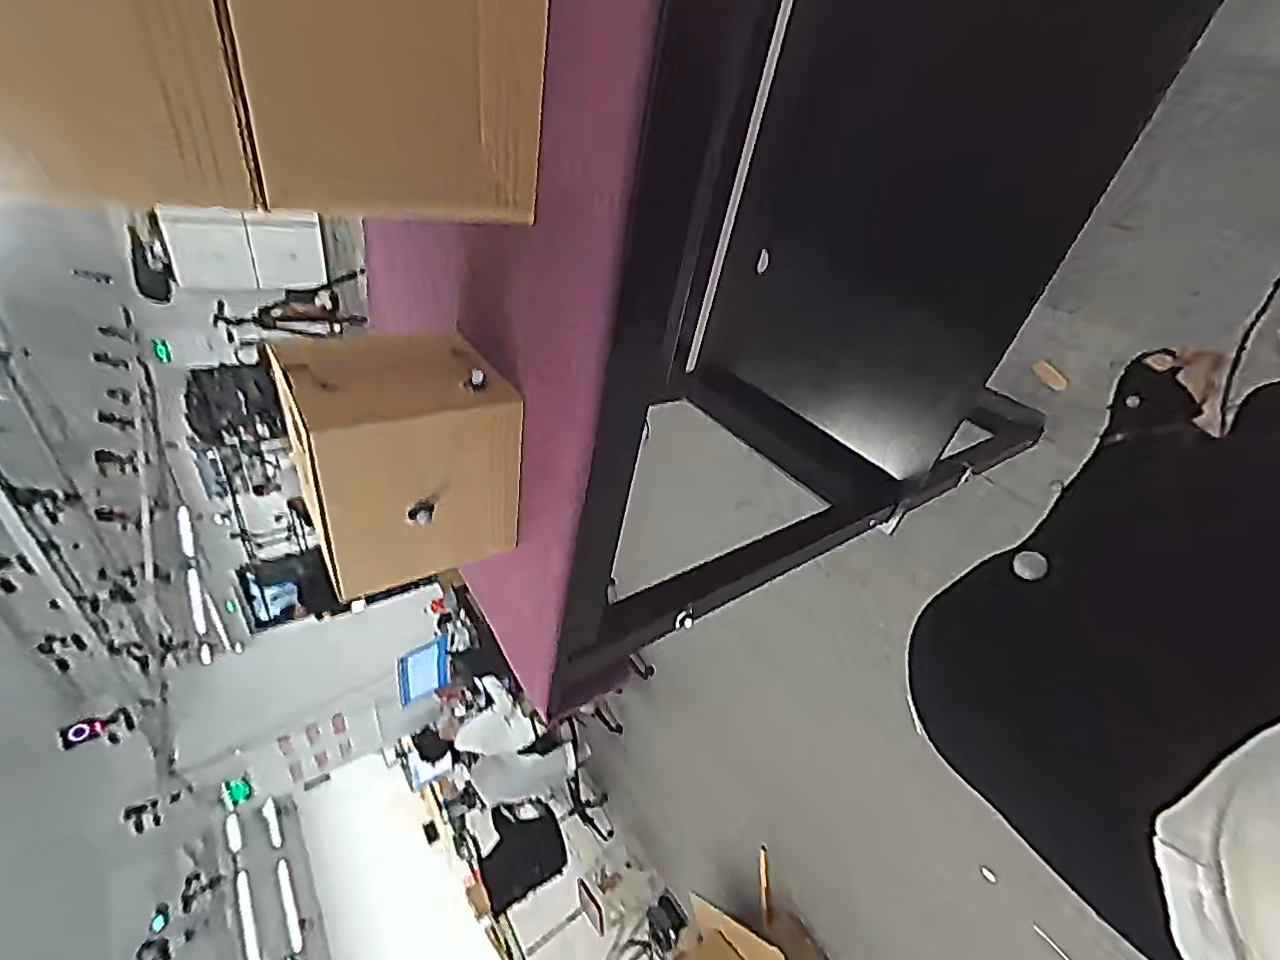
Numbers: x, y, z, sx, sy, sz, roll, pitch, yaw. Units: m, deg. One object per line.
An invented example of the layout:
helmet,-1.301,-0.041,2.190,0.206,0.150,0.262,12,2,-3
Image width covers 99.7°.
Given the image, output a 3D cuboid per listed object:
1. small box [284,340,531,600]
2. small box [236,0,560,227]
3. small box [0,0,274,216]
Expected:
small box,-0.216,-0.024,0.523,0.168,0.176,0.179,43,136,39
small box,-0.165,-0.277,0.352,0.168,0.176,0.179,44,136,38
small box,-0.298,-0.242,0.261,0.168,0.176,0.179,45,136,36
